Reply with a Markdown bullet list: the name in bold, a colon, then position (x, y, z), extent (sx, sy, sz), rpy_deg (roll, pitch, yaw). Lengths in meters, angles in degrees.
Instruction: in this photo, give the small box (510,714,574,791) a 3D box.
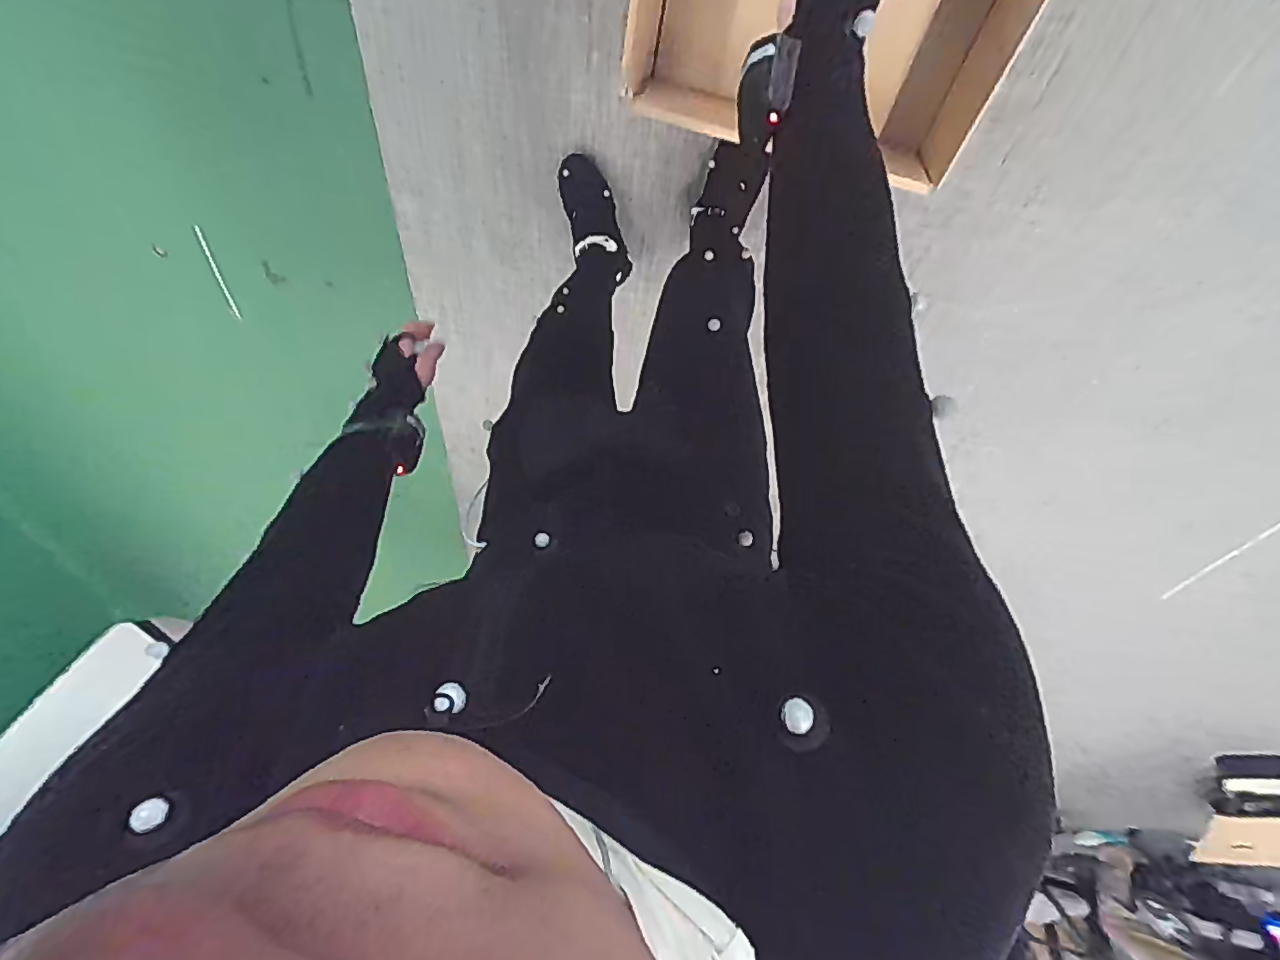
- **small box**: position (-0.320, 0.908, 1.801), extent (0.168, 0.176, 0.179), rpy_deg (13, 138, 4)
